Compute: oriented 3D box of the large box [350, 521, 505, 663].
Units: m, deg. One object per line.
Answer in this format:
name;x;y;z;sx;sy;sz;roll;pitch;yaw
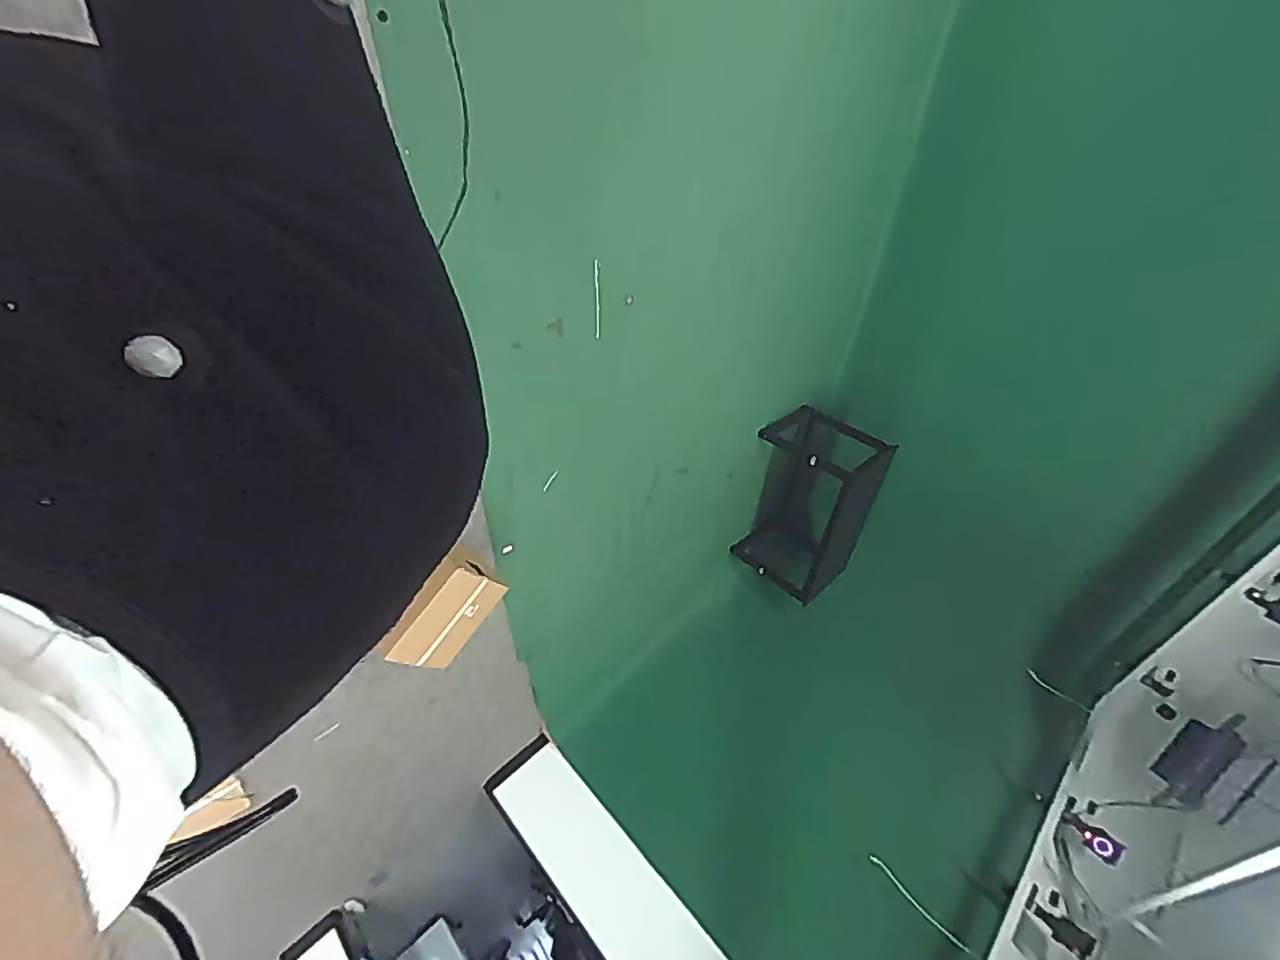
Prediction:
large box;-0.815;0.435;2.085;0.408;0.320;0.320;-53;148;-5
